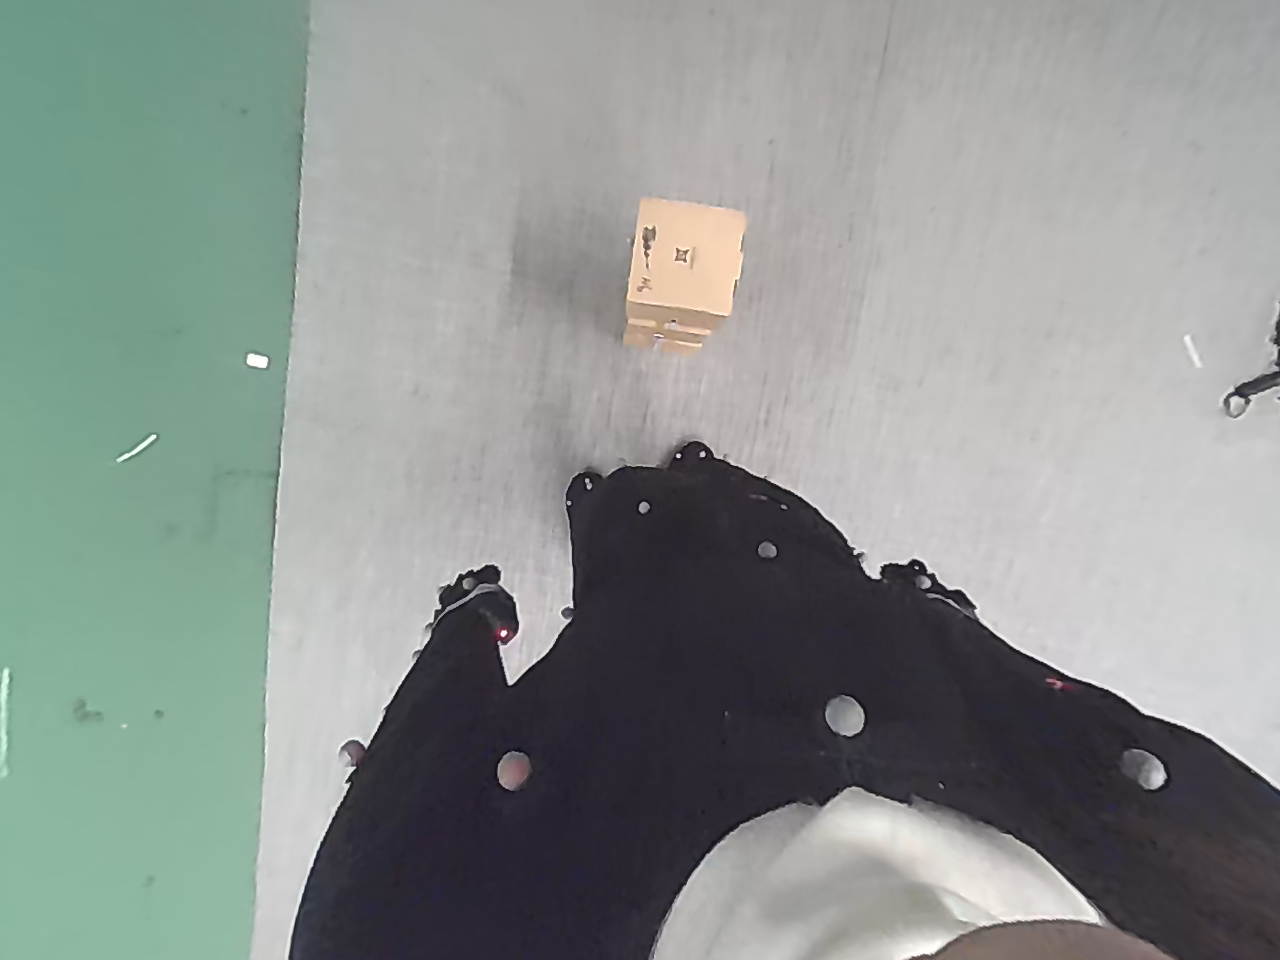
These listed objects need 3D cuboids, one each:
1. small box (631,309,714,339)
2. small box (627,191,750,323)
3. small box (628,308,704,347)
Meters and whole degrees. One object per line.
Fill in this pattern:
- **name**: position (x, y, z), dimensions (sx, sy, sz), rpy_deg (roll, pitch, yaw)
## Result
- **small box**: position (0.074, -0.398, 1.115), dimensions (0.168, 0.176, 0.179), rpy_deg (9, 100, -1)
- **small box**: position (0.077, -0.379, 0.952), dimensions (0.179, 0.176, 0.168), rpy_deg (9, 98, -2)
- **small box**: position (0.070, -0.415, 1.275), dimensions (0.179, 0.176, 0.168), rpy_deg (10, 99, -4)
